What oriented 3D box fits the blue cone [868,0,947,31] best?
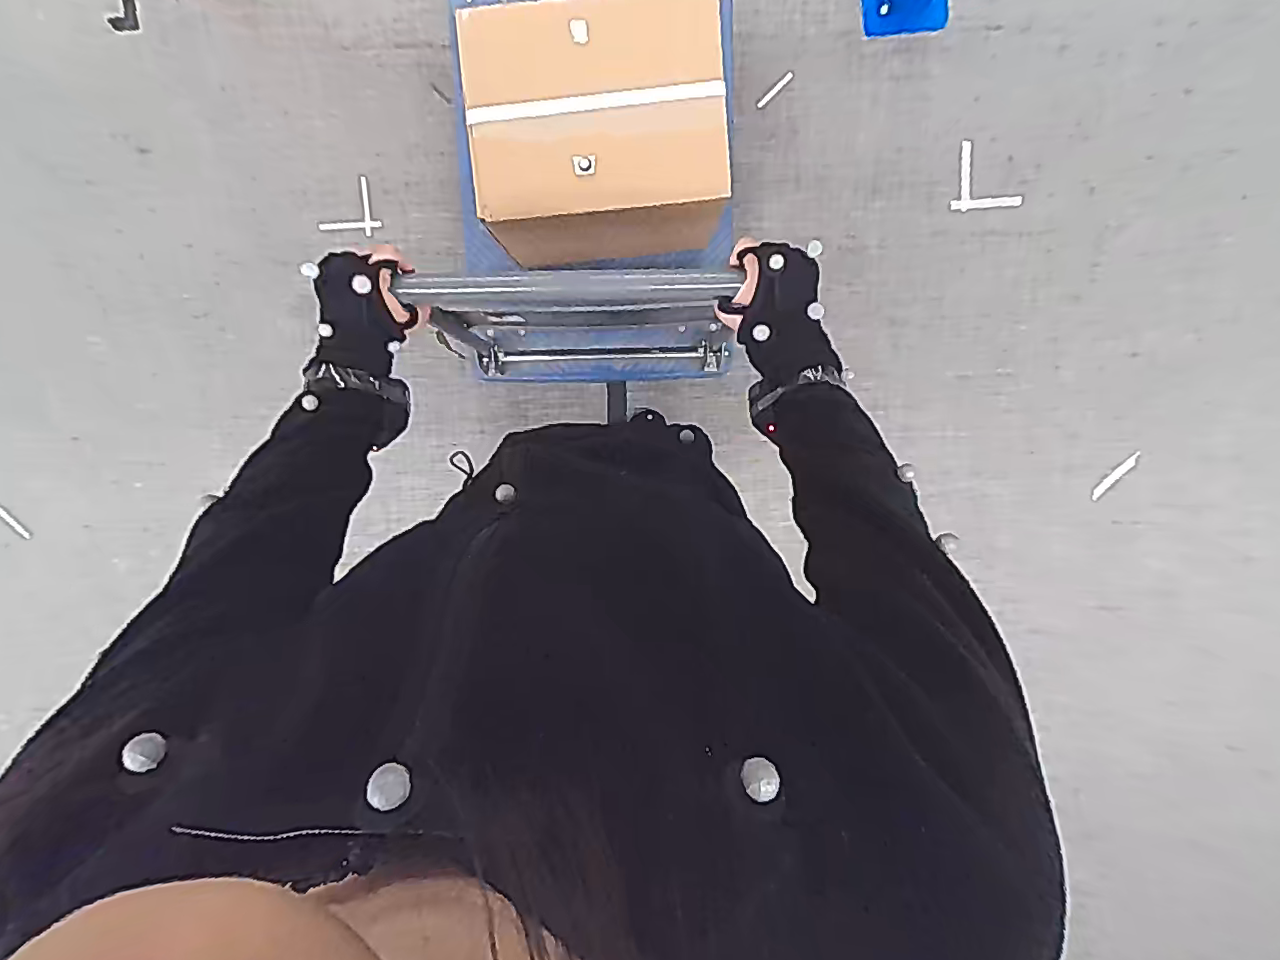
[{"bbox_3d":[0.618,-1.124,1.086,0.193,0.380,0.192,-5,97,0],"label":"blue cone"}]
